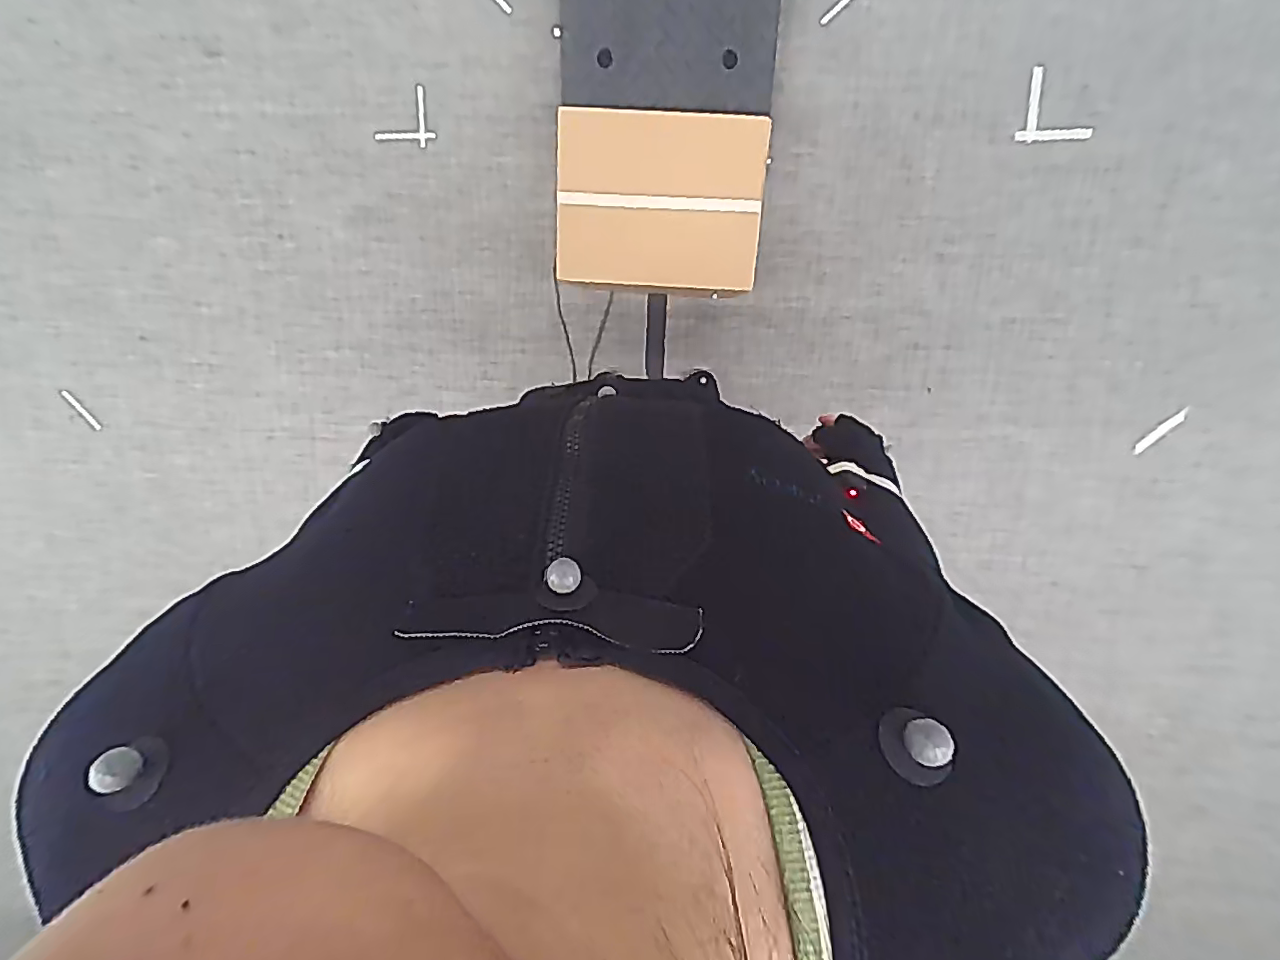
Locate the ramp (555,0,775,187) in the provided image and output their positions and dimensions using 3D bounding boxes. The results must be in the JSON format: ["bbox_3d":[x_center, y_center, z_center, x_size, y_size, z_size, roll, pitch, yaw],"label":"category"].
[{"bbox_3d":[0.058,-1.167,1.156,0.509,0.206,0.991,0,102,1],"label":"ramp"}]

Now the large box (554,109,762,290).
[{"bbox_3d":[0.035,-0.596,1.210,0.408,0.320,0.320,4,106,1],"label":"large box"}]
